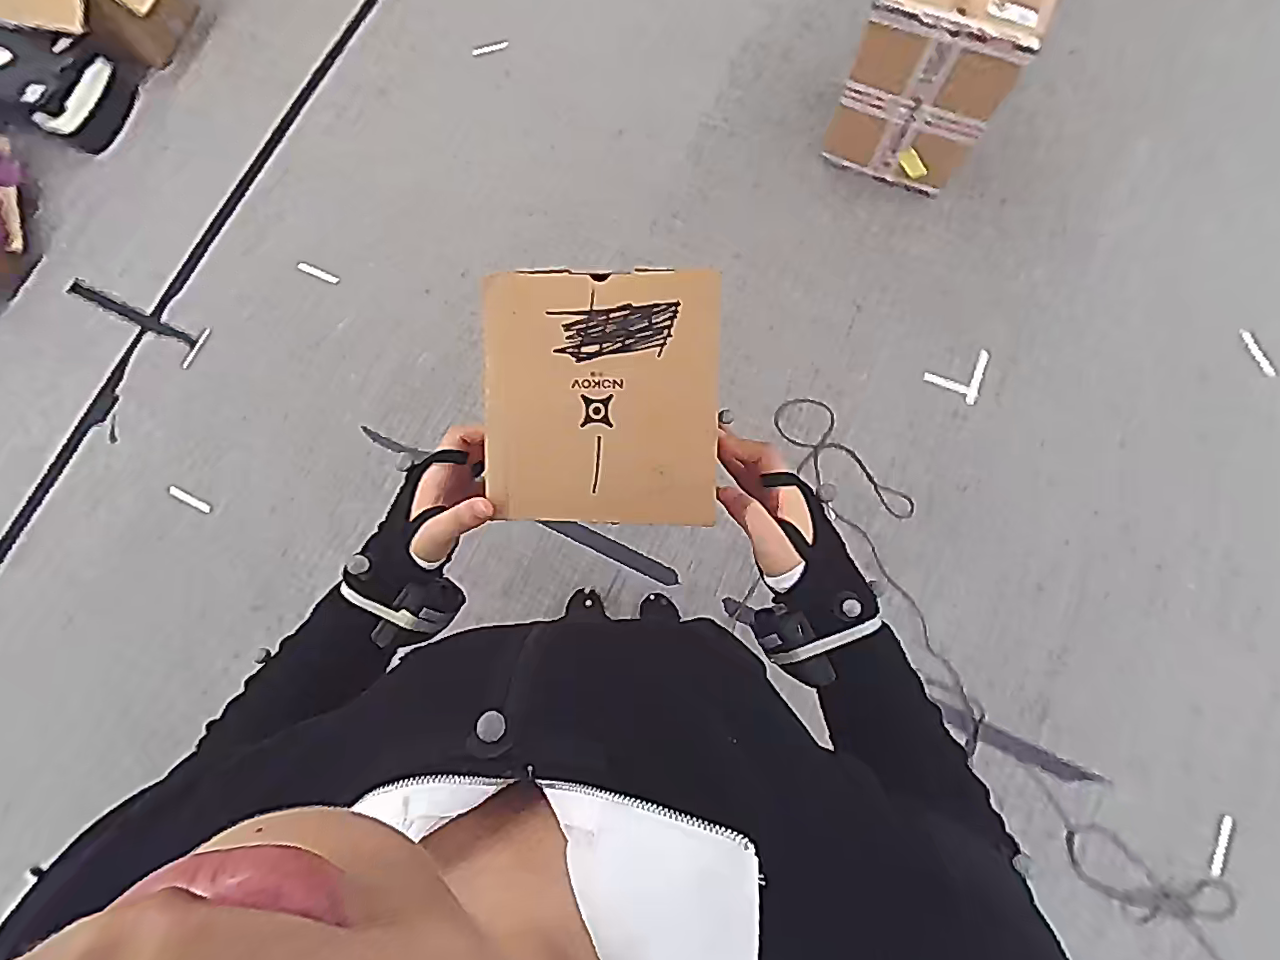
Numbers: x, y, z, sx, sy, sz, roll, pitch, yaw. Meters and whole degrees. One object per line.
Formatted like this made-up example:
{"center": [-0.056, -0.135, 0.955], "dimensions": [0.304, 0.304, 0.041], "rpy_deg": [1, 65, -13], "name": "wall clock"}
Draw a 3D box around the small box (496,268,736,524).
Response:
{"center": [-0.012, -0.064, 0.458], "dimensions": [0.168, 0.176, 0.179], "rpy_deg": [3, 95, 7], "name": "small box"}
